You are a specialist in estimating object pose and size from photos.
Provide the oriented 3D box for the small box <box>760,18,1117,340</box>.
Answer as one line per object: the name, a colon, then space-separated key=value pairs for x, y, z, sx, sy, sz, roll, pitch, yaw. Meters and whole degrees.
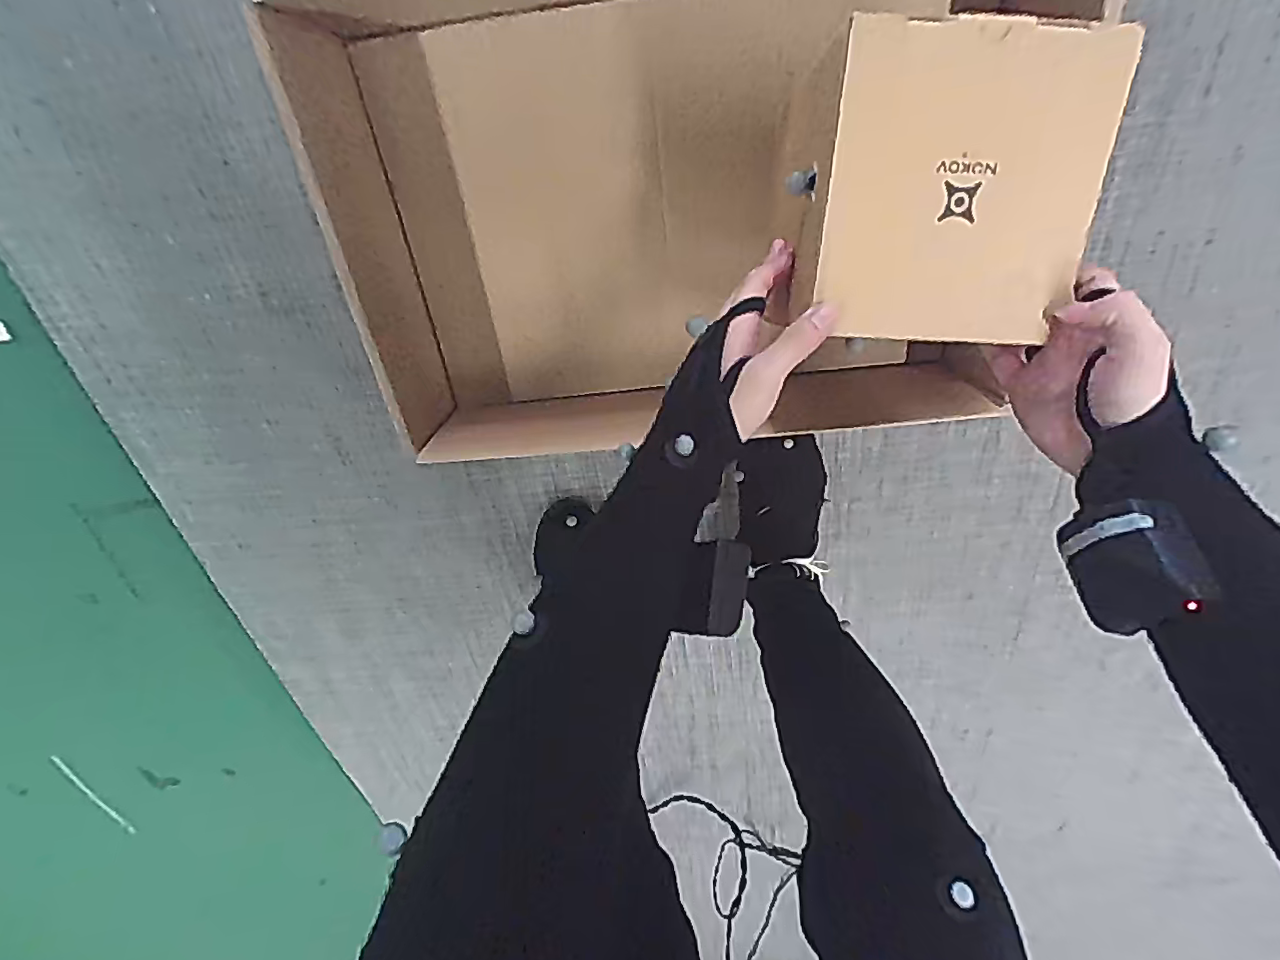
small box: x=0.191 y=-0.205 z=0.411 sx=0.168 sy=0.176 sz=0.179 roll=2 pitch=108 yaw=1
